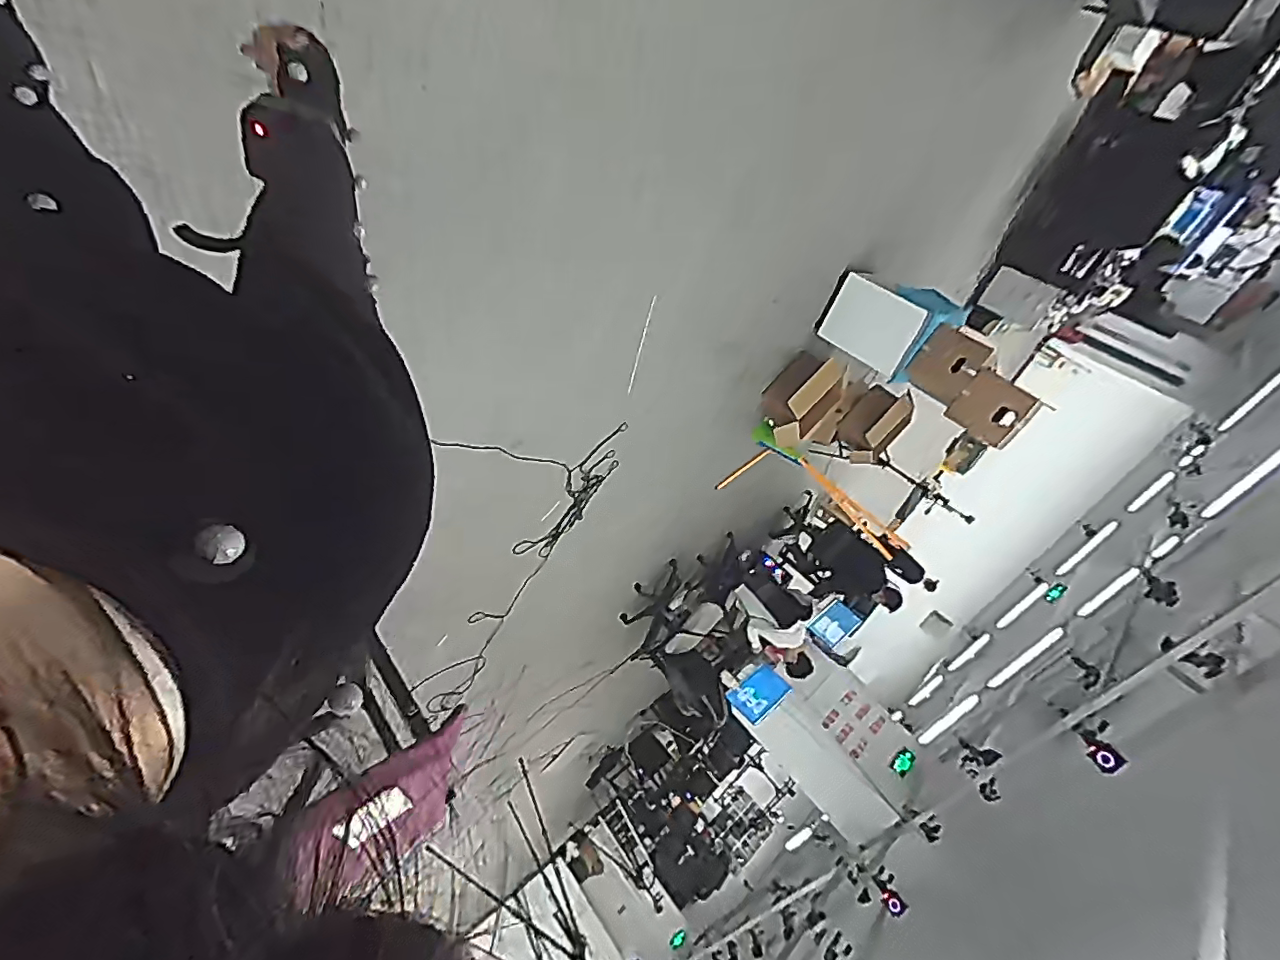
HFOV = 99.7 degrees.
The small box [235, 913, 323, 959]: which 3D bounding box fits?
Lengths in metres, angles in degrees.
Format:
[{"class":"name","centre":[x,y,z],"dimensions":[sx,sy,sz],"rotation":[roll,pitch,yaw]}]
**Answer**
[{"class":"small box","centre":[-0.955,1.308,1.438],"dimensions":[0.168,0.176,0.179],"rotation":[-20,144,-42]}]
